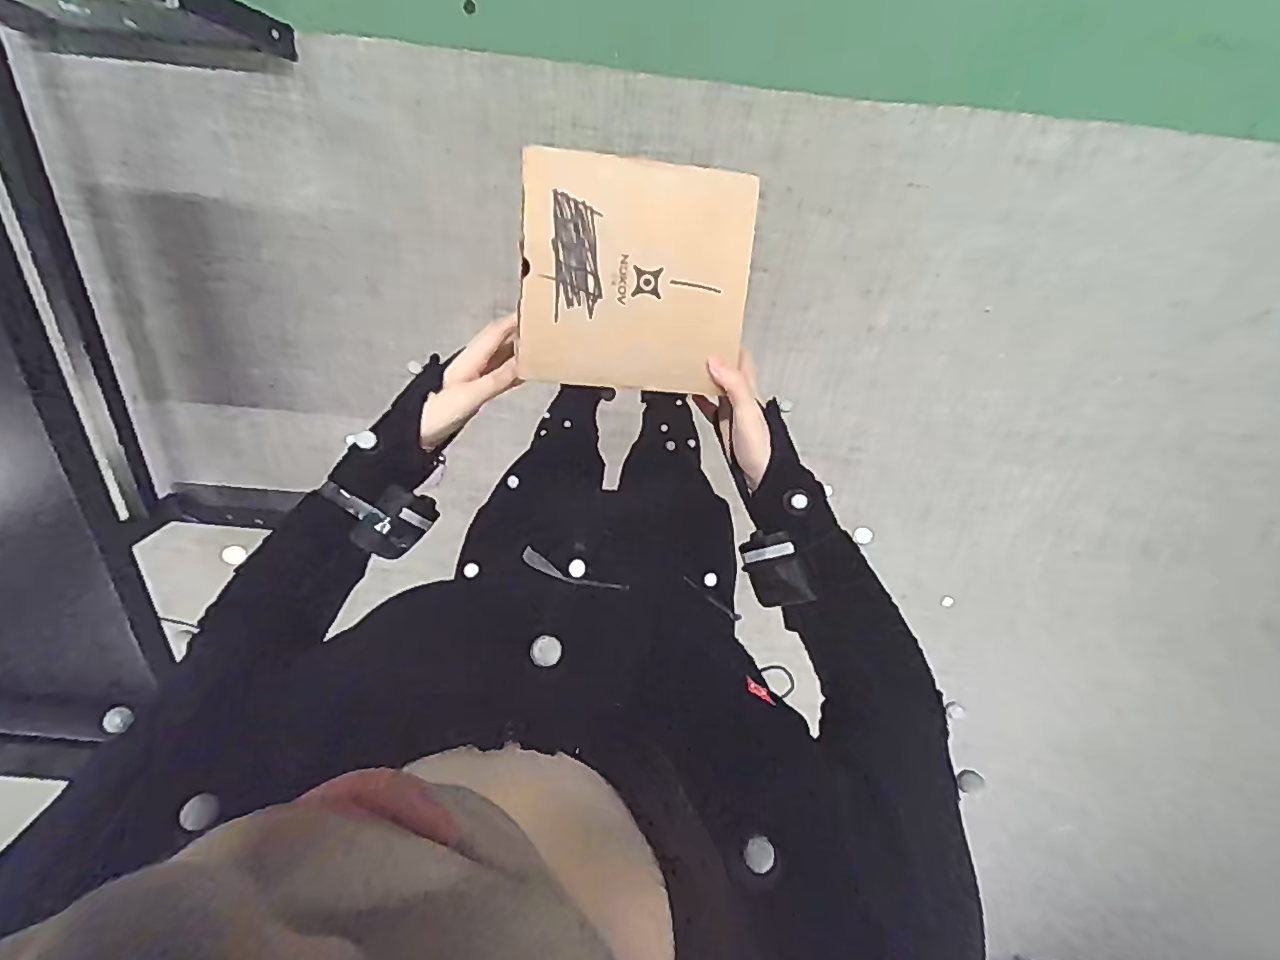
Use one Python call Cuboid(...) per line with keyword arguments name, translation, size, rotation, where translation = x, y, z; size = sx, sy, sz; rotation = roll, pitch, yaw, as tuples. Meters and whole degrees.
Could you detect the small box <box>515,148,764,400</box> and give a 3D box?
Cuboid(name="small box", translation=(-0.009, -0.164, 0.479), size=(0.179, 0.176, 0.168), rotation=(3, 102, -7))
